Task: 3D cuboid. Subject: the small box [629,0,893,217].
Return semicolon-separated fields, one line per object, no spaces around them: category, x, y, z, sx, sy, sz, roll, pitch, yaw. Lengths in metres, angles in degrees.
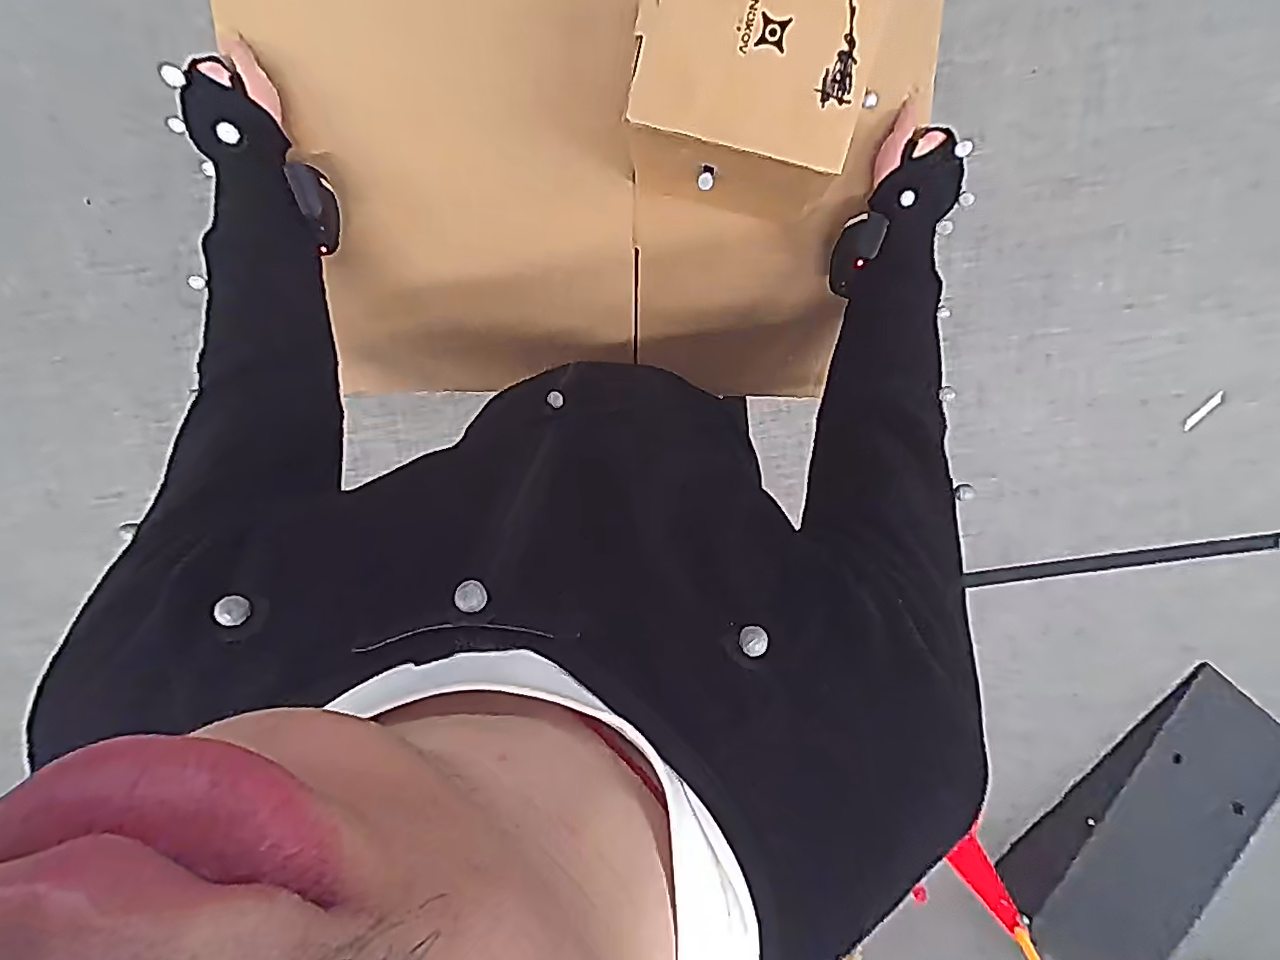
small box;0.101;-0.357;0.485;0.179;0.176;0.168;15;103;2
